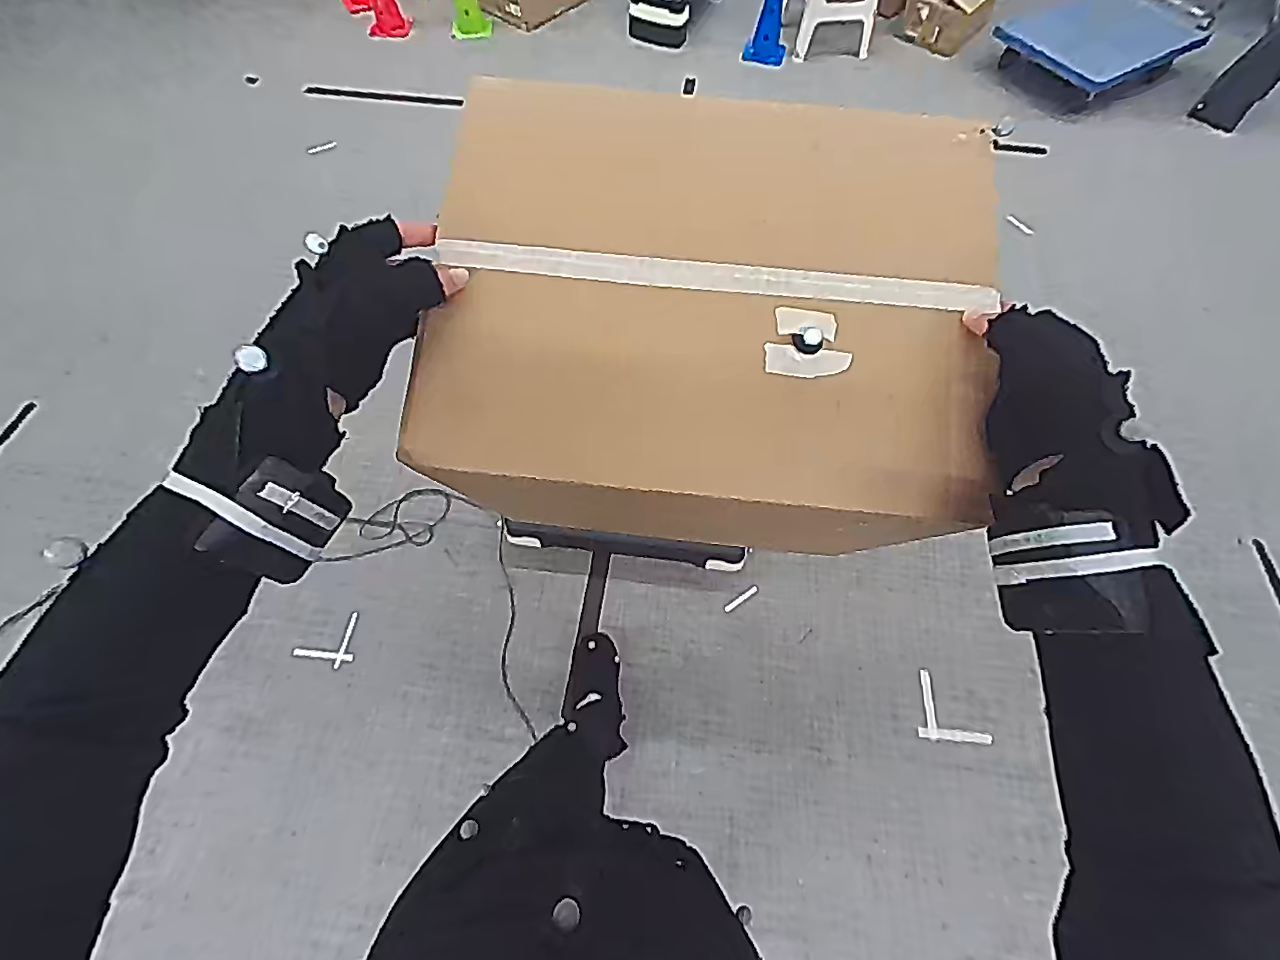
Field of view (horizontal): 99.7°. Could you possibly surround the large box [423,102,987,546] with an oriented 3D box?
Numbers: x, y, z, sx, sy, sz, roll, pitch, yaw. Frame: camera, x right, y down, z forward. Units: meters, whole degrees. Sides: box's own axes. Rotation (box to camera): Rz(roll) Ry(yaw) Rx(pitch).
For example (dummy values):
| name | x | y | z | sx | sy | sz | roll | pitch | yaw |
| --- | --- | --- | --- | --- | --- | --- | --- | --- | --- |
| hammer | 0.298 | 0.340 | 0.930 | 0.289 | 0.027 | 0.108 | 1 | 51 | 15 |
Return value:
| name | x | y | z | sx | sy | sz | roll | pitch | yaw |
| --- | --- | --- | --- | --- | --- | --- | --- | --- | --- |
| large box | 0.053 | -0.112 | 0.550 | 0.408 | 0.320 | 0.320 | 6 | 79 | 1 |
